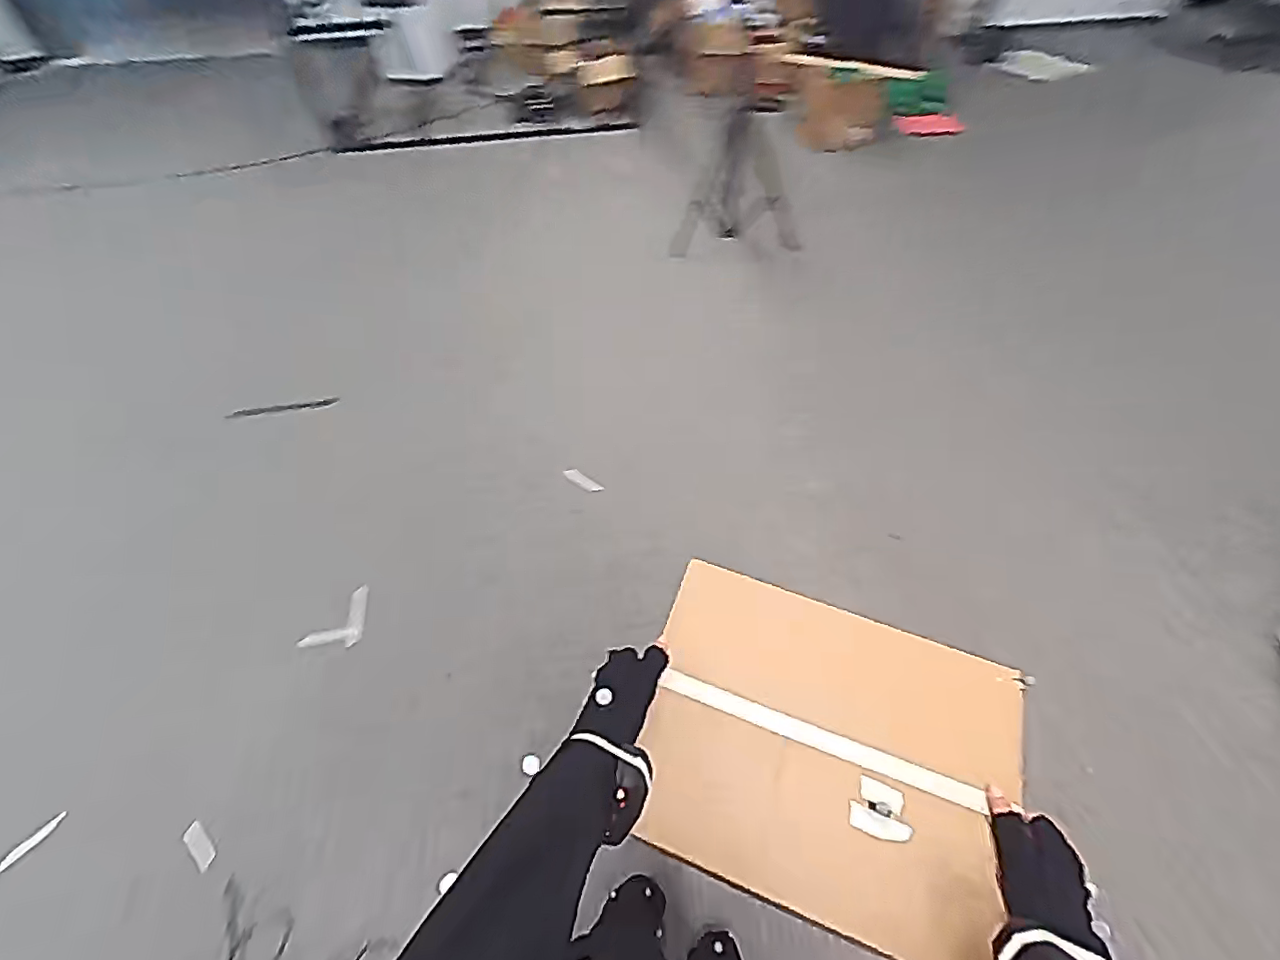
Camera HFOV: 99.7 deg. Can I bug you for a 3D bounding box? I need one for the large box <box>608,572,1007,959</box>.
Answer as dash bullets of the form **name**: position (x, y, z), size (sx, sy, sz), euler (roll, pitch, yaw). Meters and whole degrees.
- **large box**: position (0.197, 0.374, 0.733), size (0.408, 0.320, 0.320), euler (17, 59, 11)
